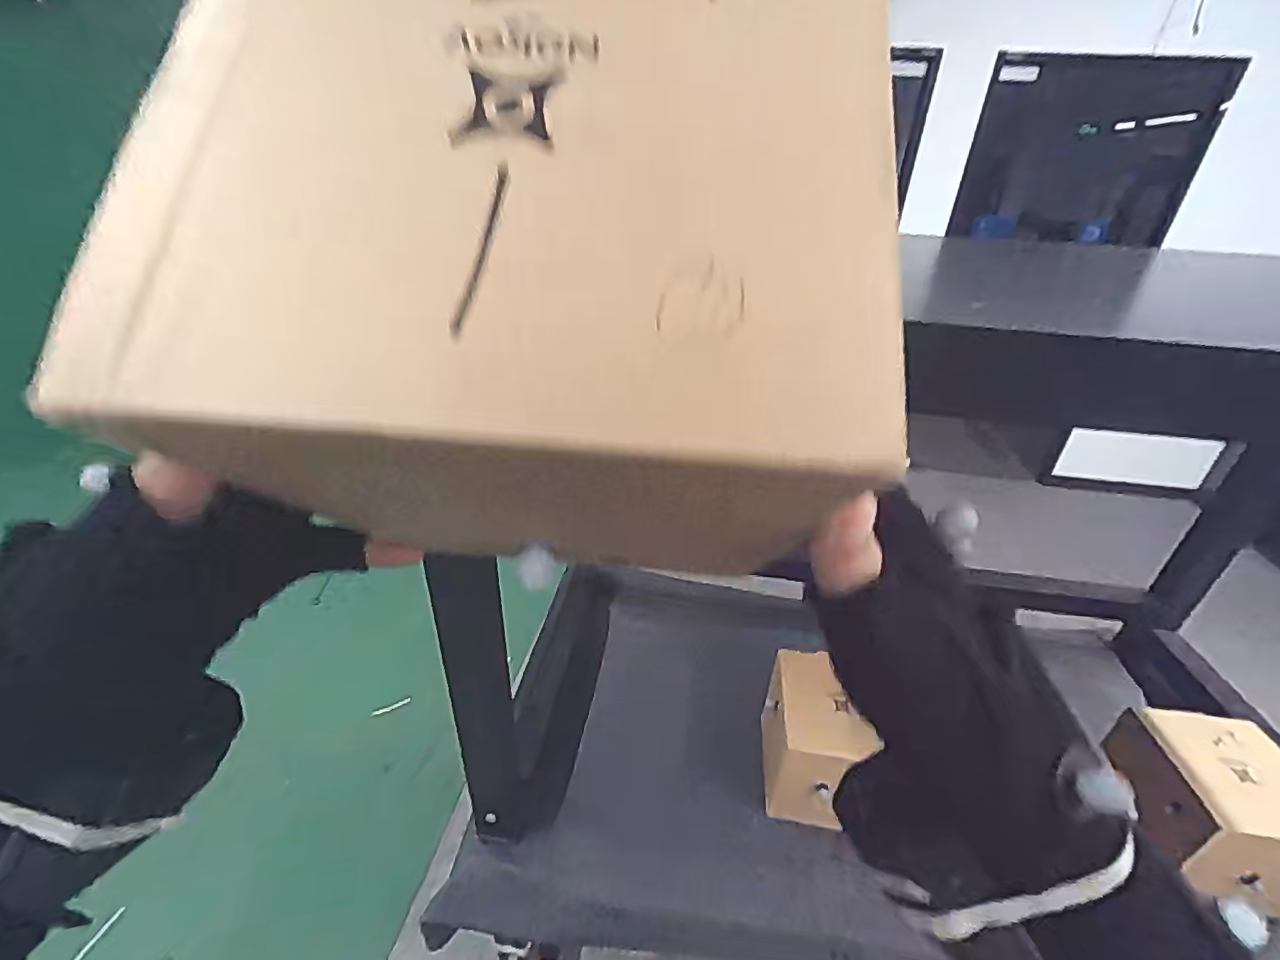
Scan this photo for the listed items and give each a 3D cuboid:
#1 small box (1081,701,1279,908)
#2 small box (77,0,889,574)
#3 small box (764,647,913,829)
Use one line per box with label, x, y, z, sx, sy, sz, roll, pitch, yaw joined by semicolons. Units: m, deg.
small box;0.767;0.440;0.740;0.168;0.176;0.179;6;29;6
small box;-0.025;-0.067;0.206;0.168;0.176;0.179;4;74;3
small box;0.282;0.383;0.810;0.168;0.176;0.179;6;30;7
